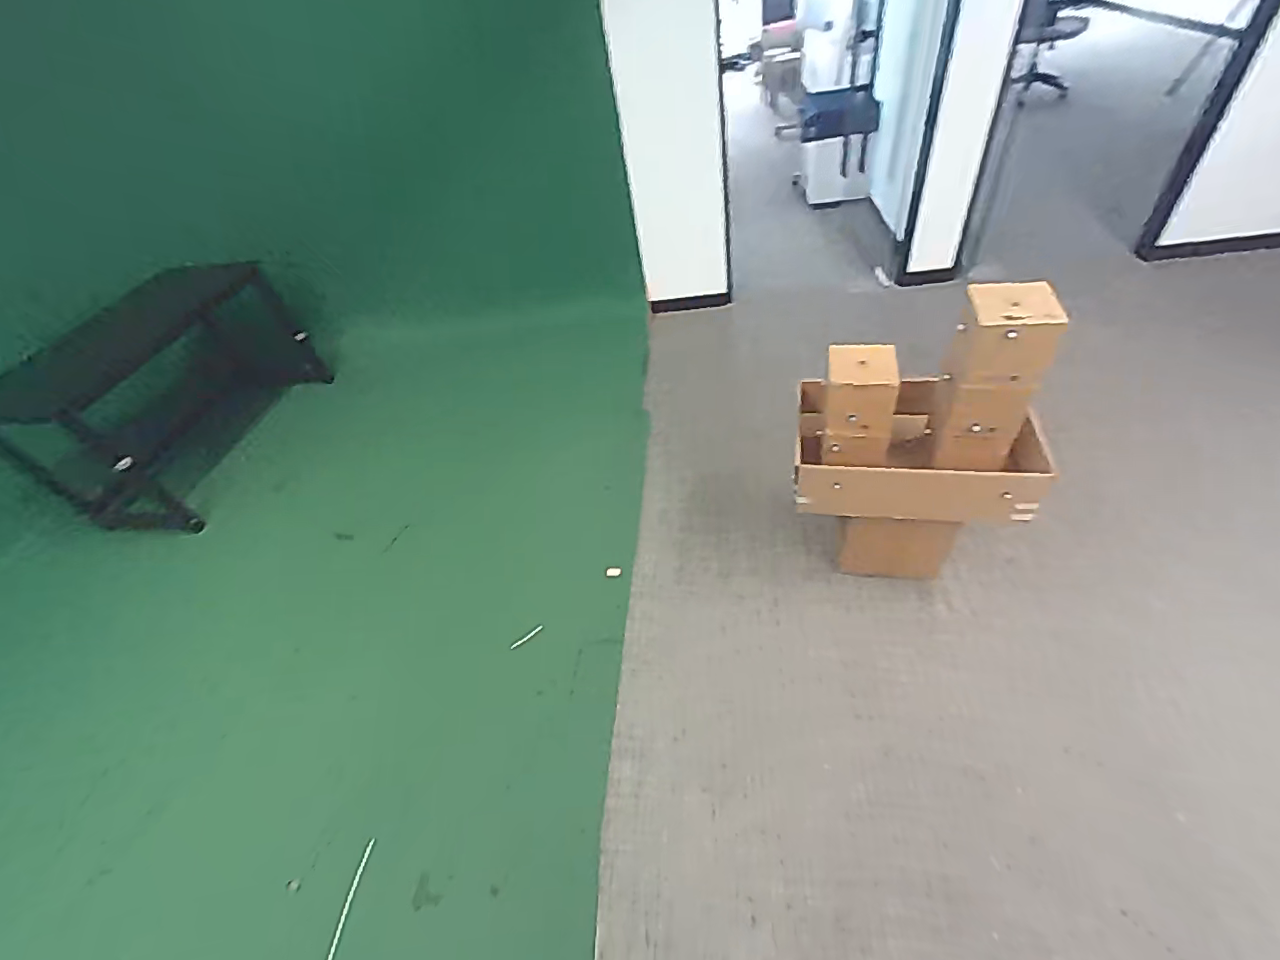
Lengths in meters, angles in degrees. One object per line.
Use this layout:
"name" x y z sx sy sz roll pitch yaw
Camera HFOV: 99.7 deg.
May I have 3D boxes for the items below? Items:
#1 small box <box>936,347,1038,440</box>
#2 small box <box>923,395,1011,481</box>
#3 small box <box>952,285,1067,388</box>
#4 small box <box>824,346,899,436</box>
"small box" 0.874 -0.223 1.382 0.168 0.176 0.179 3 48 16
"small box" 0.899 -0.115 1.501 0.168 0.176 0.179 4 47 15
"small box" 0.850 -0.336 1.265 0.168 0.176 0.179 3 47 16
"small box" 0.592 -0.242 1.462 0.168 0.176 0.179 4 48 15
